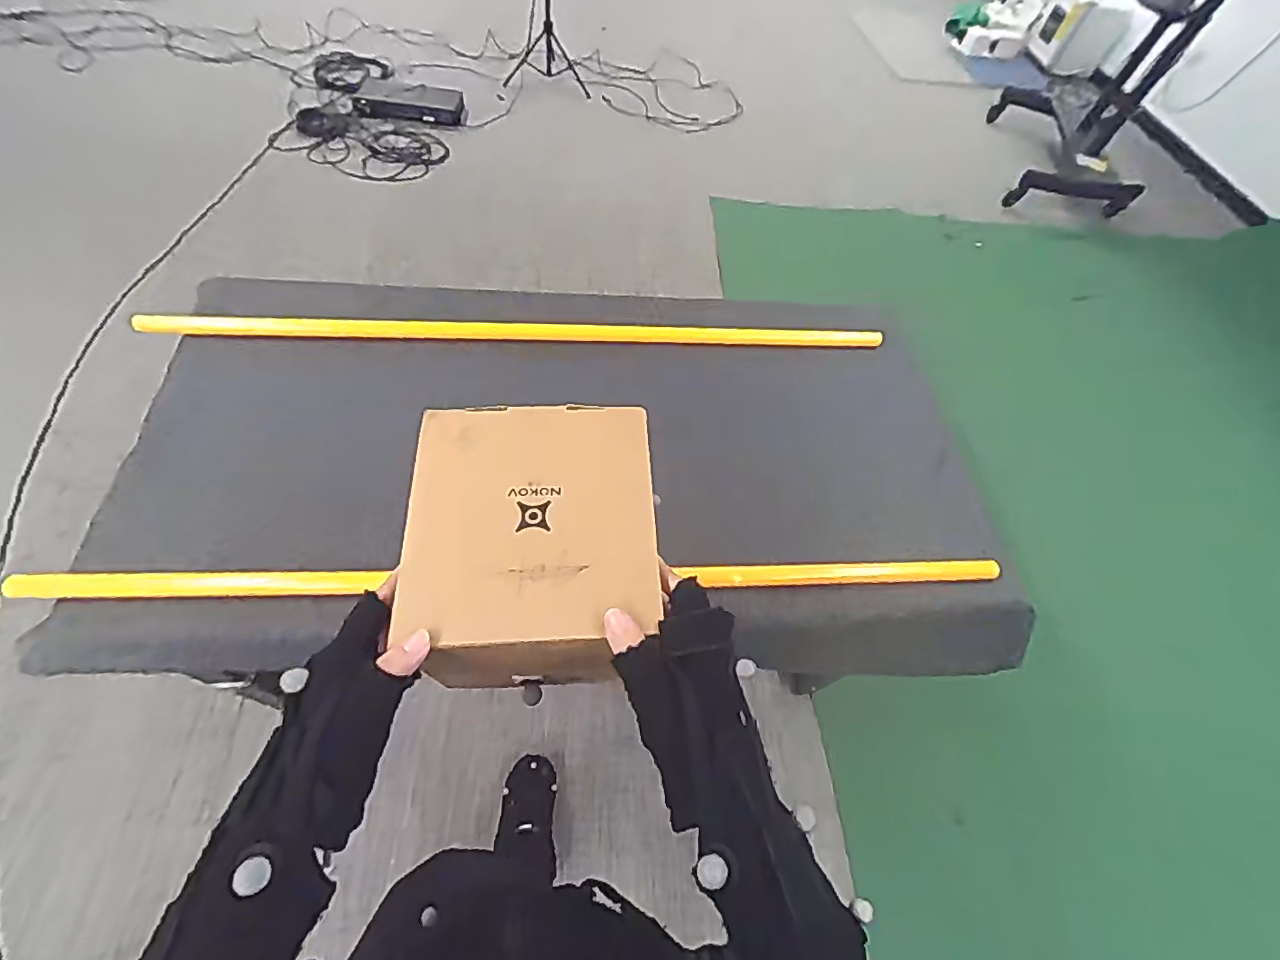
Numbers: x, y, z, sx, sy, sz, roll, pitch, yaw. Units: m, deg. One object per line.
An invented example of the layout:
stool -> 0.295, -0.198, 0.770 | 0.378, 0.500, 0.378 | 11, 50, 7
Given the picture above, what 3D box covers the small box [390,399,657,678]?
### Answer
small box -> -0.080, 0.053, 0.442 | 0.168, 0.176, 0.179 | -1, 61, -5
